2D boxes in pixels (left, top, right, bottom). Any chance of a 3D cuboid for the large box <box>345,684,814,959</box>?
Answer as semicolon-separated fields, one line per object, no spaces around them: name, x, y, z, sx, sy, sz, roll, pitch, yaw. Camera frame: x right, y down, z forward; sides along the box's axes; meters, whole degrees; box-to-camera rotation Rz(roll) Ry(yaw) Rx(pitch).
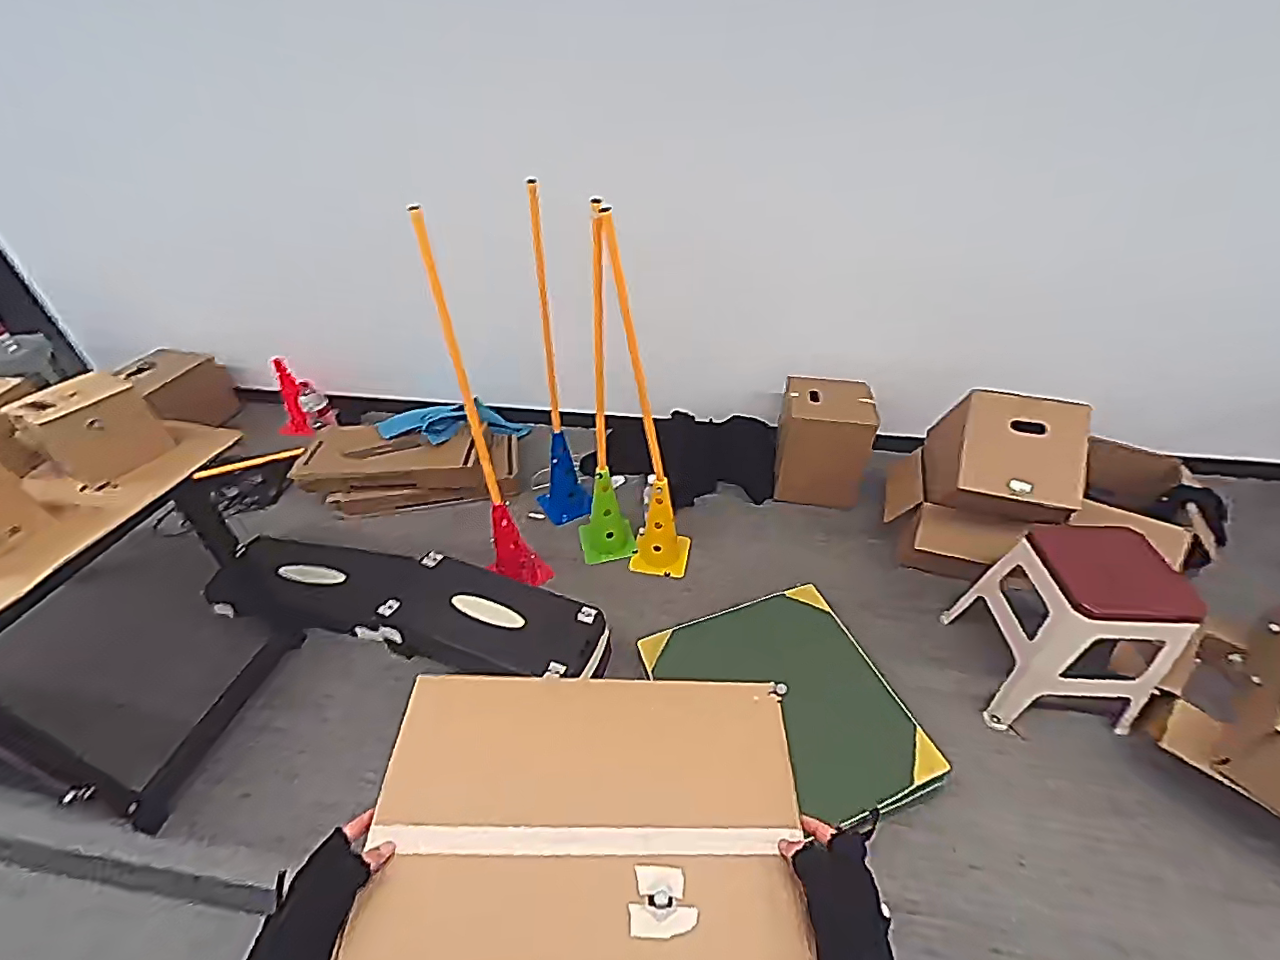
large box;-0.058;0.453;0.619;0.408;0.320;0.320;2;45;-2
